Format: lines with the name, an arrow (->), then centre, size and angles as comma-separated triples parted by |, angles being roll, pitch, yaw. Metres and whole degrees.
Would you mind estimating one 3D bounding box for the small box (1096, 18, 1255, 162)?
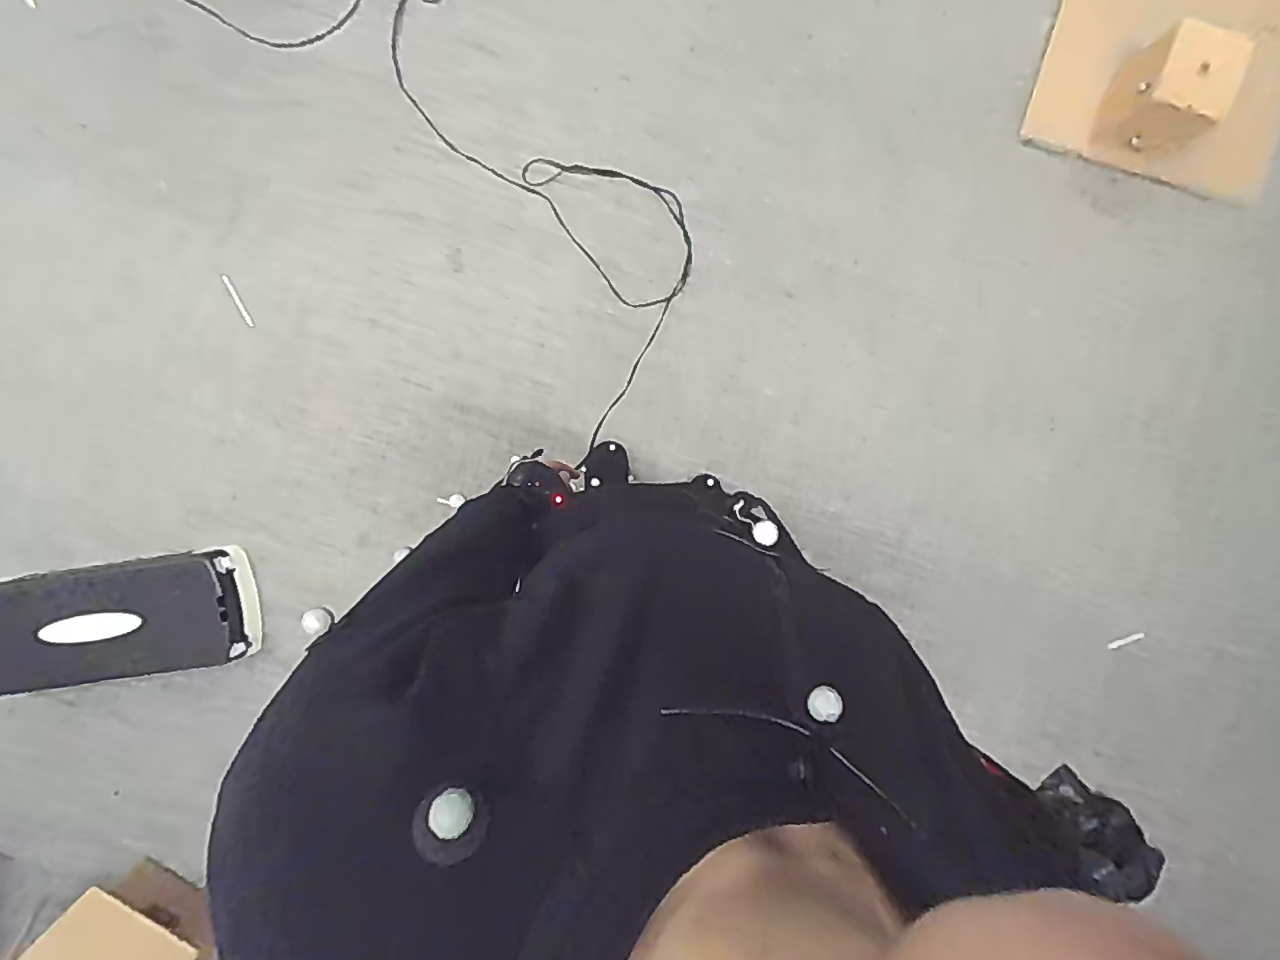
small box -> 1.187, -0.864, 1.215 | 0.168, 0.176, 0.179 | 18, 94, -1
